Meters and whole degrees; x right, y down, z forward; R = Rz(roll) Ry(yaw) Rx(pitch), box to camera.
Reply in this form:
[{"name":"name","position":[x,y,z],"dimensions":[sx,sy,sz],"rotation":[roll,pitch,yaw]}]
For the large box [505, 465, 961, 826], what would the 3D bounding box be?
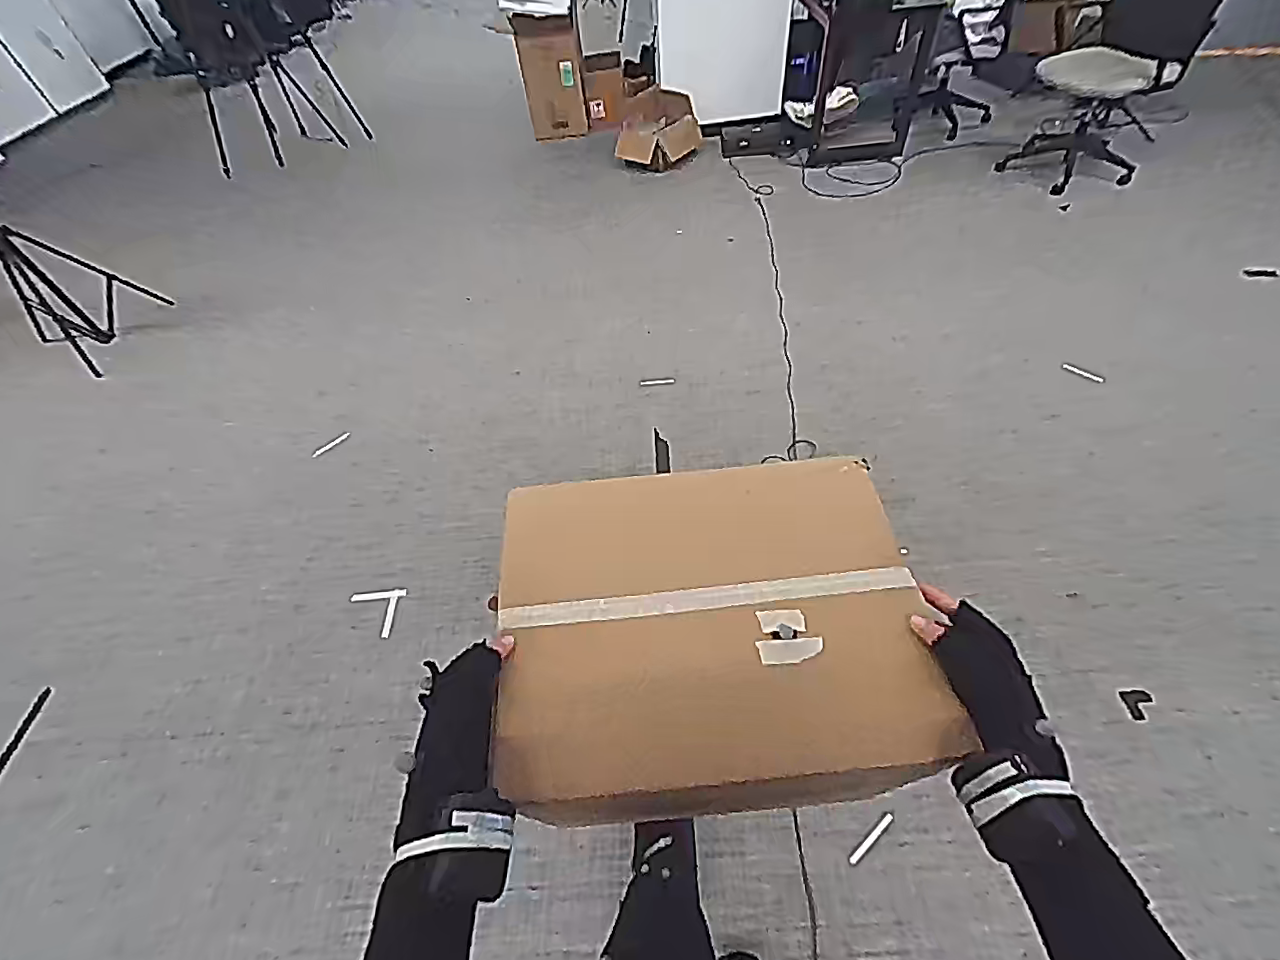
[{"name":"large box","position":[0.073,0.213,0.666],"dimensions":[0.408,0.320,0.320],"rotation":[-6,55,-1]}]
